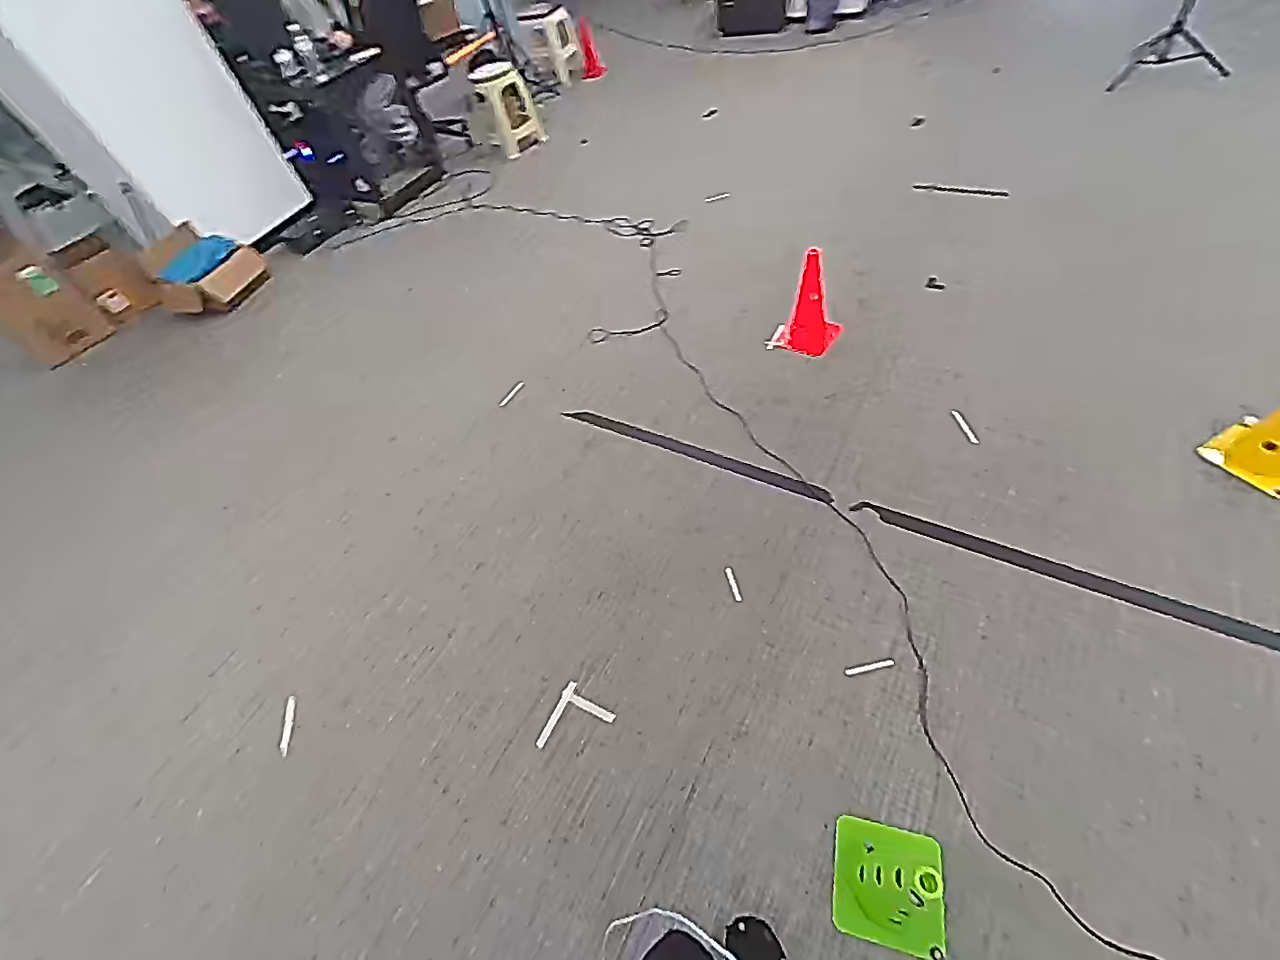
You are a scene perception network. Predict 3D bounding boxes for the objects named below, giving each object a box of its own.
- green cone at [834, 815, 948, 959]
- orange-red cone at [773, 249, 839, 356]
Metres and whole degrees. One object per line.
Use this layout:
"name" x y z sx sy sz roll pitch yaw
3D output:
"green cone" 0.457 0.691 0.938 0.202 0.368 0.200 4 54 18
"orange-red cone" 0.607 -0.658 1.942 0.199 0.360 0.198 27 64 28
